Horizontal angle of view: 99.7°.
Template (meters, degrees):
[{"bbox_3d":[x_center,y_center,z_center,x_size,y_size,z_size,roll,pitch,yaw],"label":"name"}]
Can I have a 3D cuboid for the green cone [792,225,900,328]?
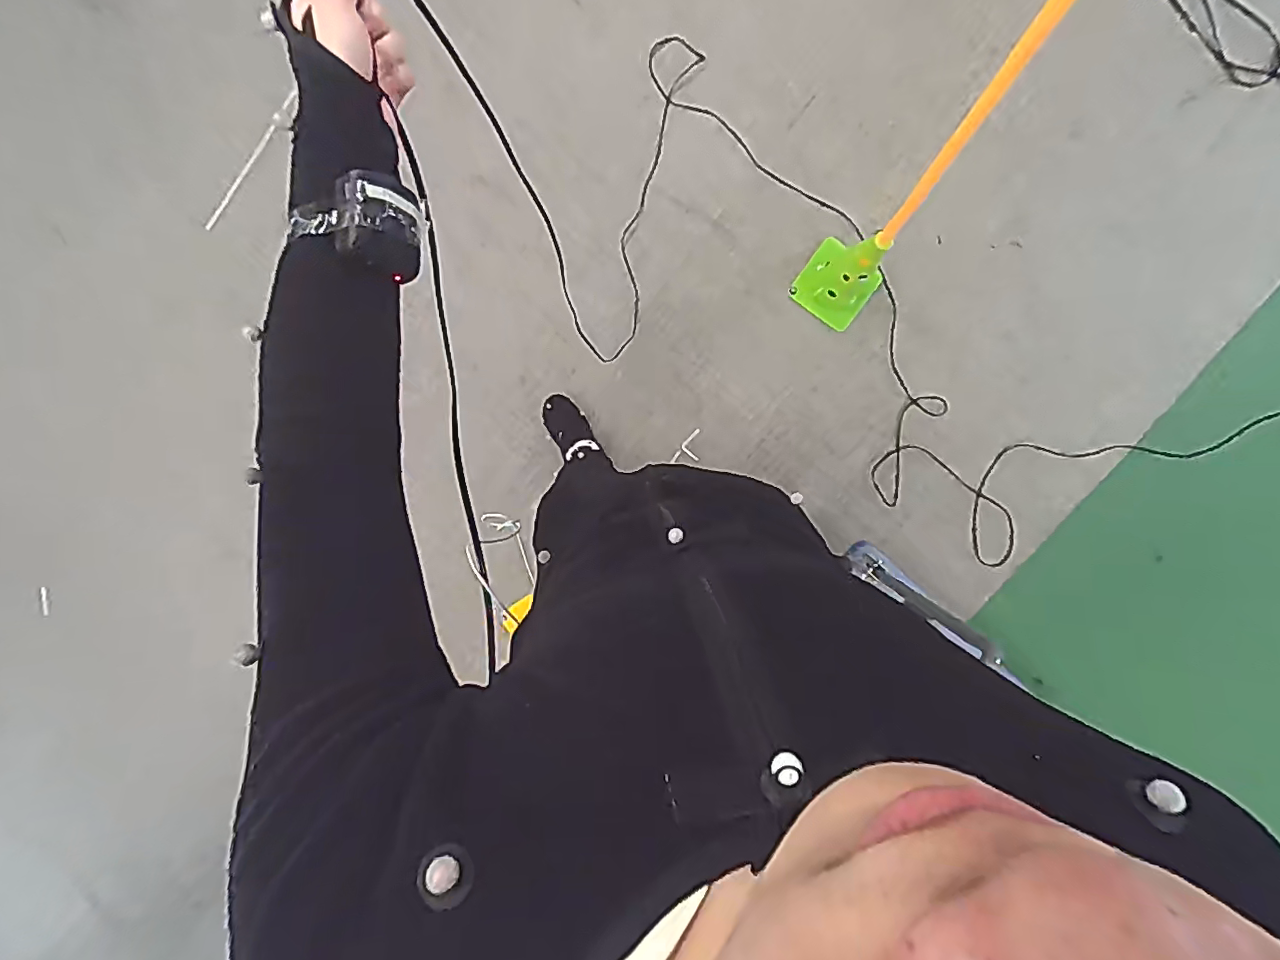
[{"bbox_3d":[0.550,-0.541,1.346,0.200,0.368,0.202,35,95,-1],"label":"green cone"}]
